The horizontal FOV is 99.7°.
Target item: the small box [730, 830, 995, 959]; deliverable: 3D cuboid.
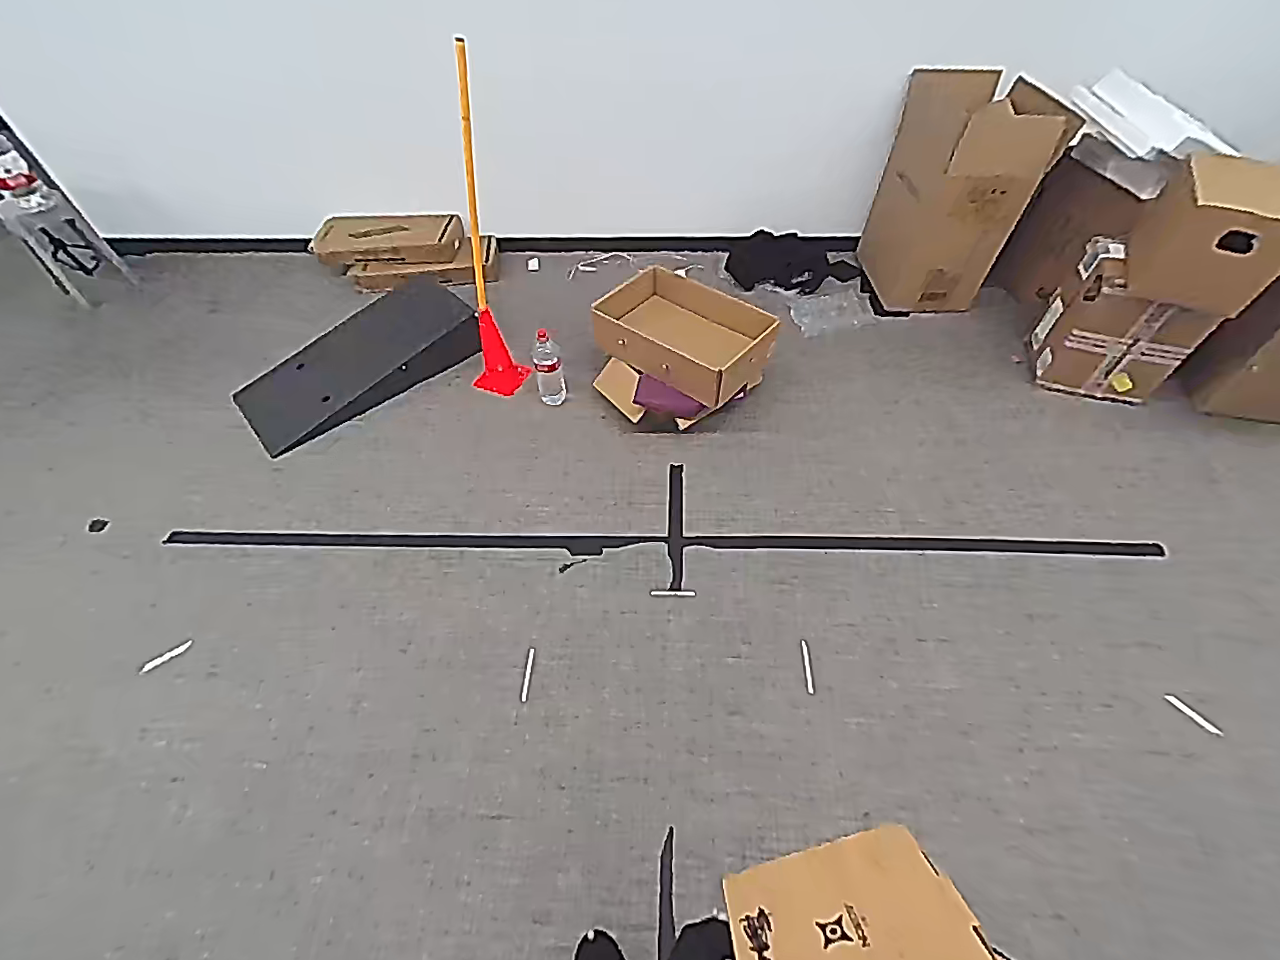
[{"bbox_3d":[0.187,0.430,0.427,0.179,0.168,0.176,-18,92,2],"label":"small box"}]
